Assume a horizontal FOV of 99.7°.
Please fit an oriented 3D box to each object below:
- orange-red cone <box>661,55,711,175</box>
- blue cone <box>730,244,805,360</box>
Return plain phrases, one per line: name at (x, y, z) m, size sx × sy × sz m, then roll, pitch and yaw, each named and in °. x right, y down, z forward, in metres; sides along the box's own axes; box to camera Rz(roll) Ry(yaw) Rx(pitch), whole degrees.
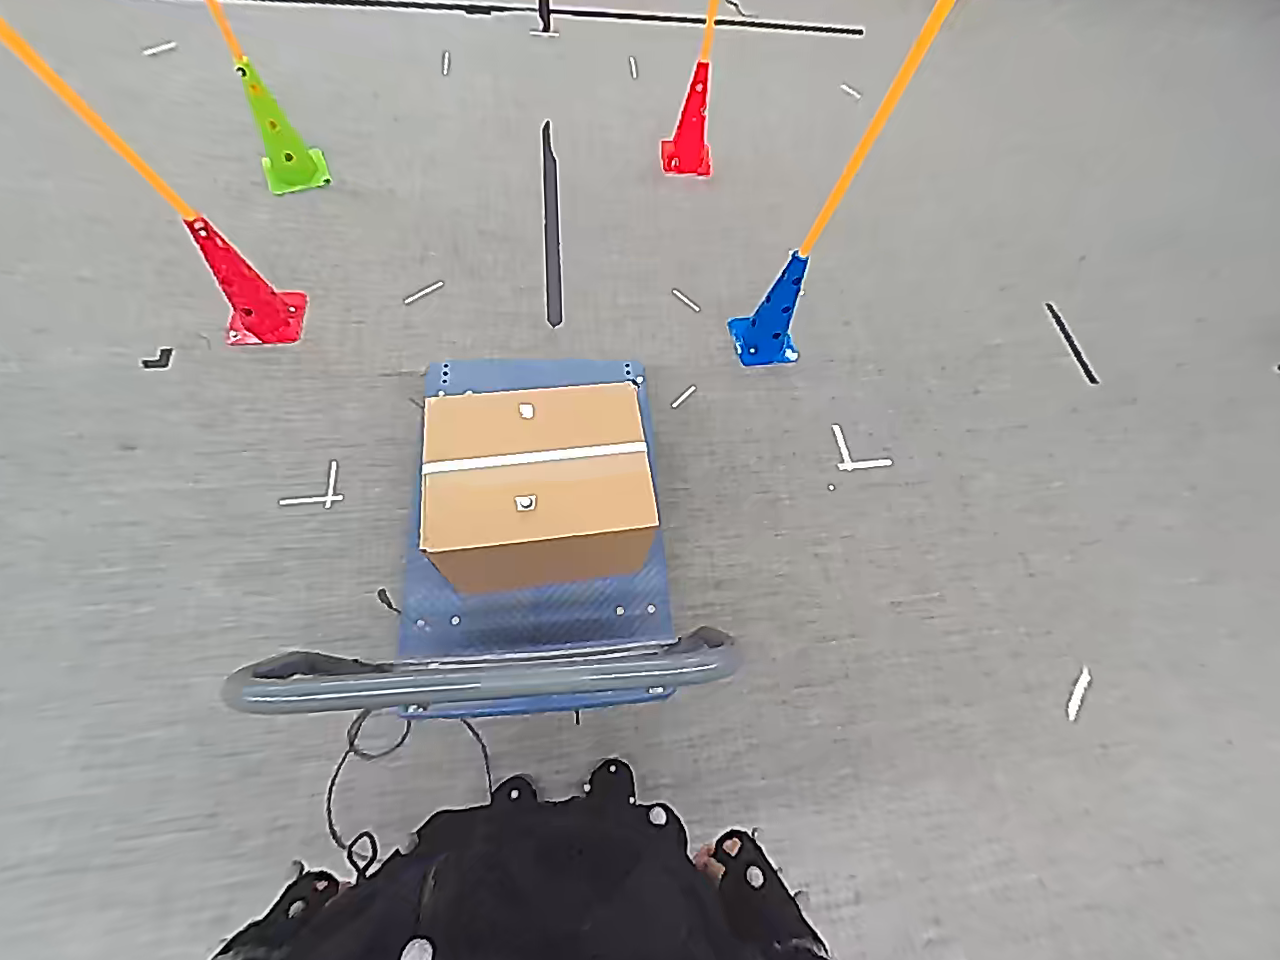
orange-red cone at (0.204, -1.362, 1.998) m, size 0.199 × 0.360 × 0.198 m, roll 3°, pitch 65°, yaw -6°
blue cone at (0.424, -0.549, 1.652) m, size 0.193 × 0.380 × 0.192 m, roll -7°, pitch 64°, yaw -10°
